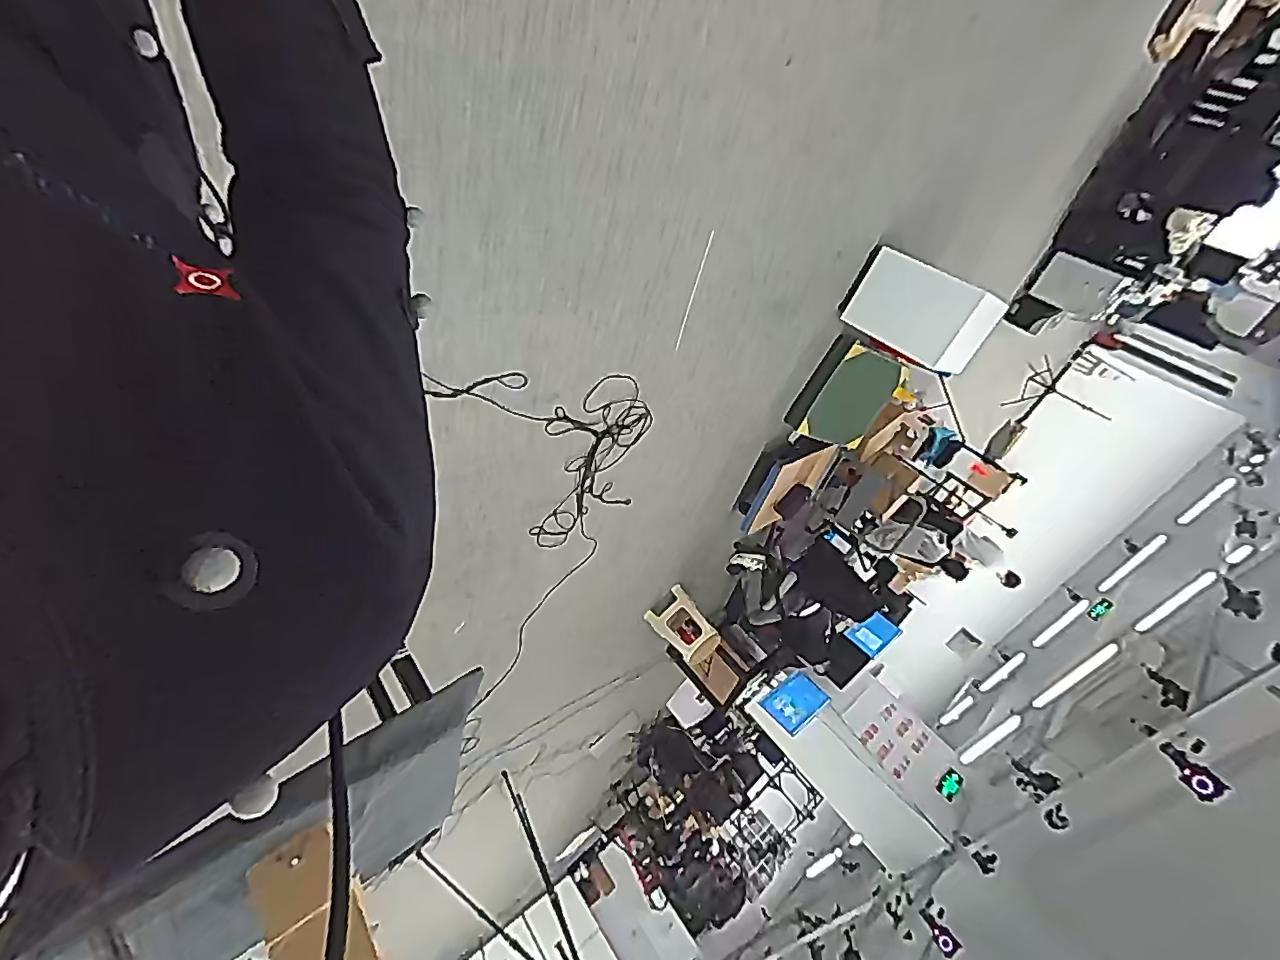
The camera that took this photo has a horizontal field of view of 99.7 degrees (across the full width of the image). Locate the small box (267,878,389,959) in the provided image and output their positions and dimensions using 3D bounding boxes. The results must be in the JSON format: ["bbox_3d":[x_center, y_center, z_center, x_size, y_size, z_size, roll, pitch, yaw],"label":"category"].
[{"bbox_3d":[-0.676,1.020,1.180,0.179,0.176,0.168,-22,142,-34],"label":"small box"}]

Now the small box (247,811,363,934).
[{"bbox_3d":[-0.771,0.909,1.251,0.168,0.176,0.179,-26,145,-32],"label":"small box"}]
